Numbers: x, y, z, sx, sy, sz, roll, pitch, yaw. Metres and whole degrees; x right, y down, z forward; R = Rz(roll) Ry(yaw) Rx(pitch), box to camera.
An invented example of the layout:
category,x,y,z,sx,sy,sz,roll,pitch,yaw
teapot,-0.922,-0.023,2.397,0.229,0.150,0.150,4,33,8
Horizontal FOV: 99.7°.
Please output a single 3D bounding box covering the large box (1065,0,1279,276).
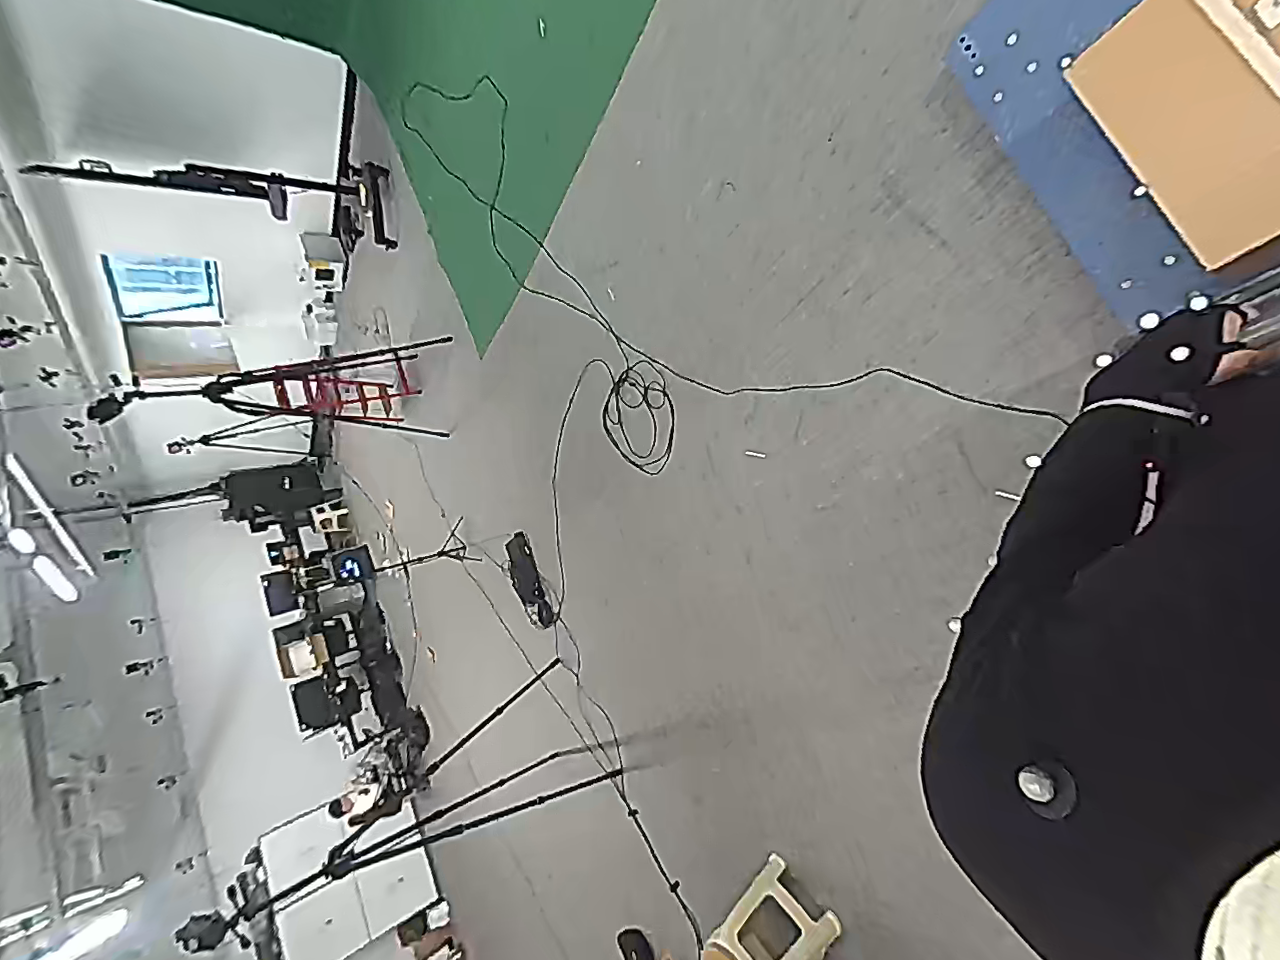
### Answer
category,x,y,z,sx,sy,sz,roll,pitch,yaw
large box,0.975,-0.583,0.832,0.320,0.320,0.408,-37,70,48
